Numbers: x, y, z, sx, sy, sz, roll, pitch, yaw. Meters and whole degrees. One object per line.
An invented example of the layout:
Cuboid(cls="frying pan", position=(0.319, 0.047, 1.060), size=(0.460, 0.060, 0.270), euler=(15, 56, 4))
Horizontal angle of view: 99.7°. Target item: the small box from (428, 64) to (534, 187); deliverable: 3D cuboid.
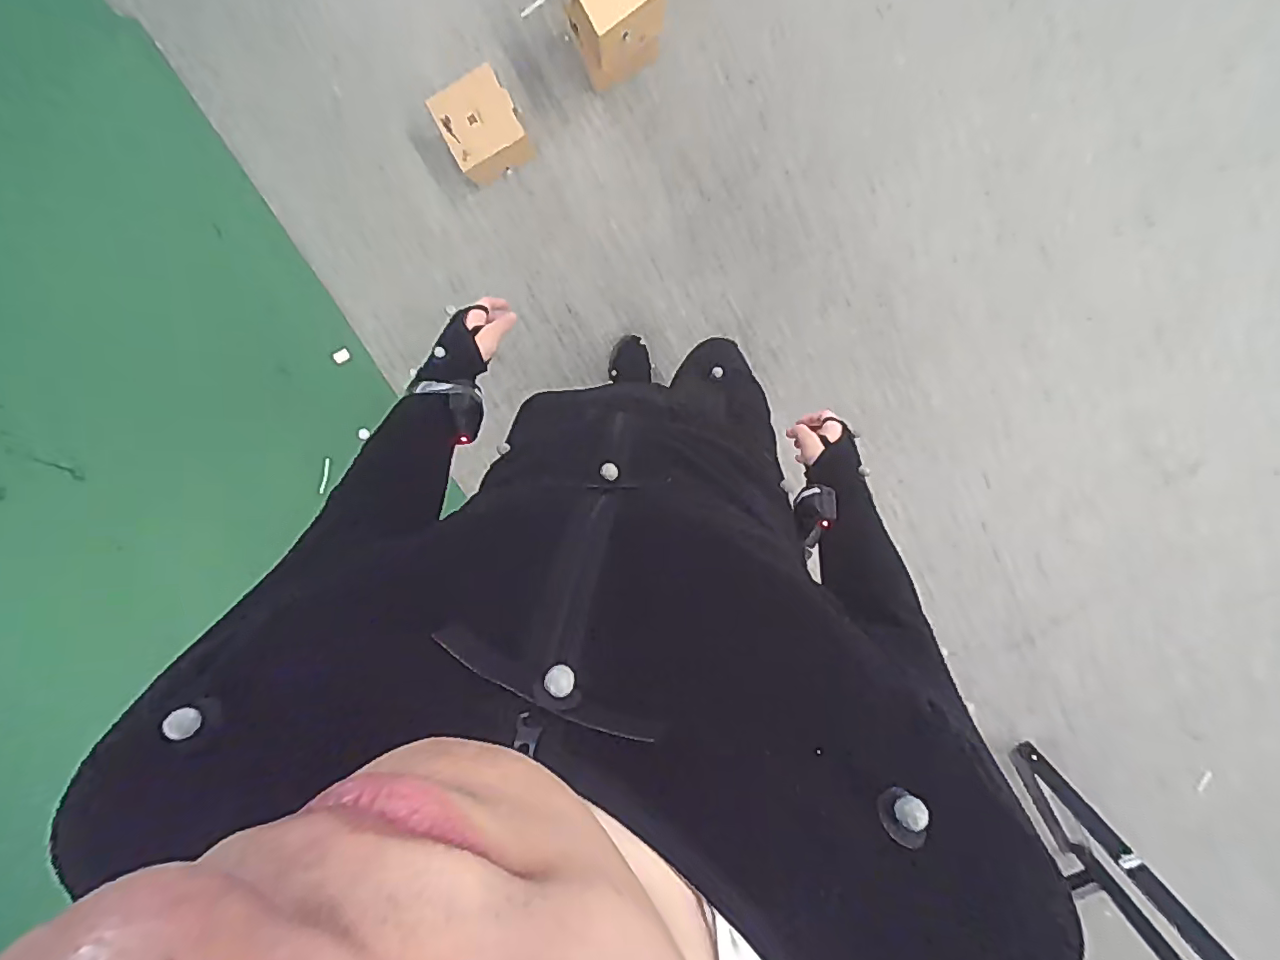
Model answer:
Cuboid(cls="small box", position=(-0.373, -0.849, 1.313), size=(0.179, 0.176, 0.168), euler=(-26, 104, 7))

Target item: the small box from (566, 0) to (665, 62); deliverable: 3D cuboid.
Cuboid(cls="small box", position=(-0.056, -0.998, 1.097), size=(0.168, 0.176, 0.179), euler=(-31, 103, 9))

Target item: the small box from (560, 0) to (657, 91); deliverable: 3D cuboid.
Cuboid(cls="small box", position=(-0.066, -1.053, 1.250), size=(0.179, 0.176, 0.168), euler=(-28, 104, 7))
